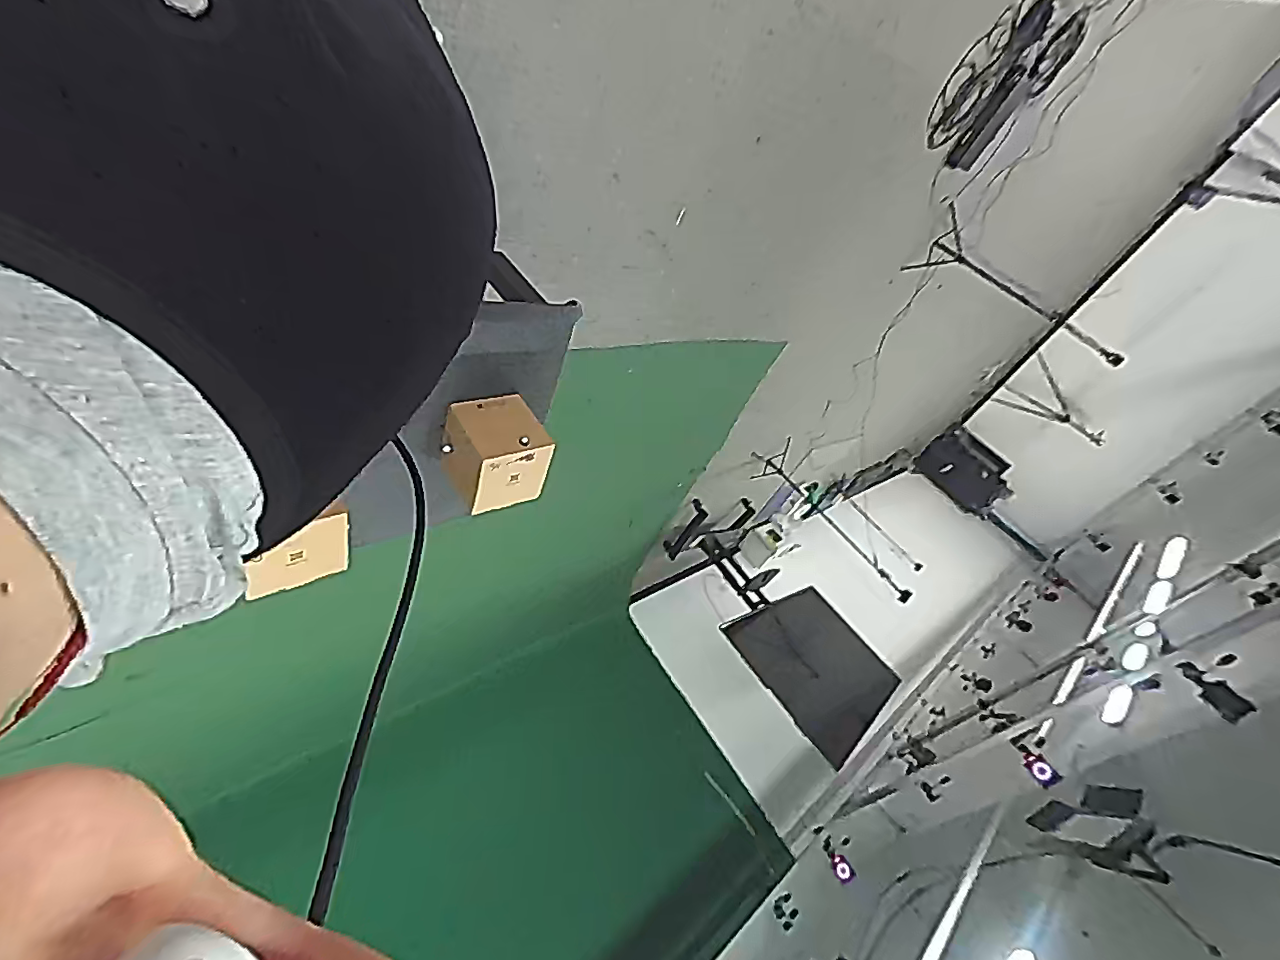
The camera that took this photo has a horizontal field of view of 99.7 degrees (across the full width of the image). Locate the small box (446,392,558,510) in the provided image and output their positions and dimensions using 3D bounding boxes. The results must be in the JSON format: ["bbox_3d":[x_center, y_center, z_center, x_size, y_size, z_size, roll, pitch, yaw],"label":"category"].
[{"bbox_3d":[-0.308,-0.066,1.182,0.168,0.176,0.179,-18,149,-38],"label":"small box"}]

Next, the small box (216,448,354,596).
[{"bbox_3d":[-0.633,0.071,0.975,0.168,0.176,0.179,-20,148,-38],"label":"small box"}]
